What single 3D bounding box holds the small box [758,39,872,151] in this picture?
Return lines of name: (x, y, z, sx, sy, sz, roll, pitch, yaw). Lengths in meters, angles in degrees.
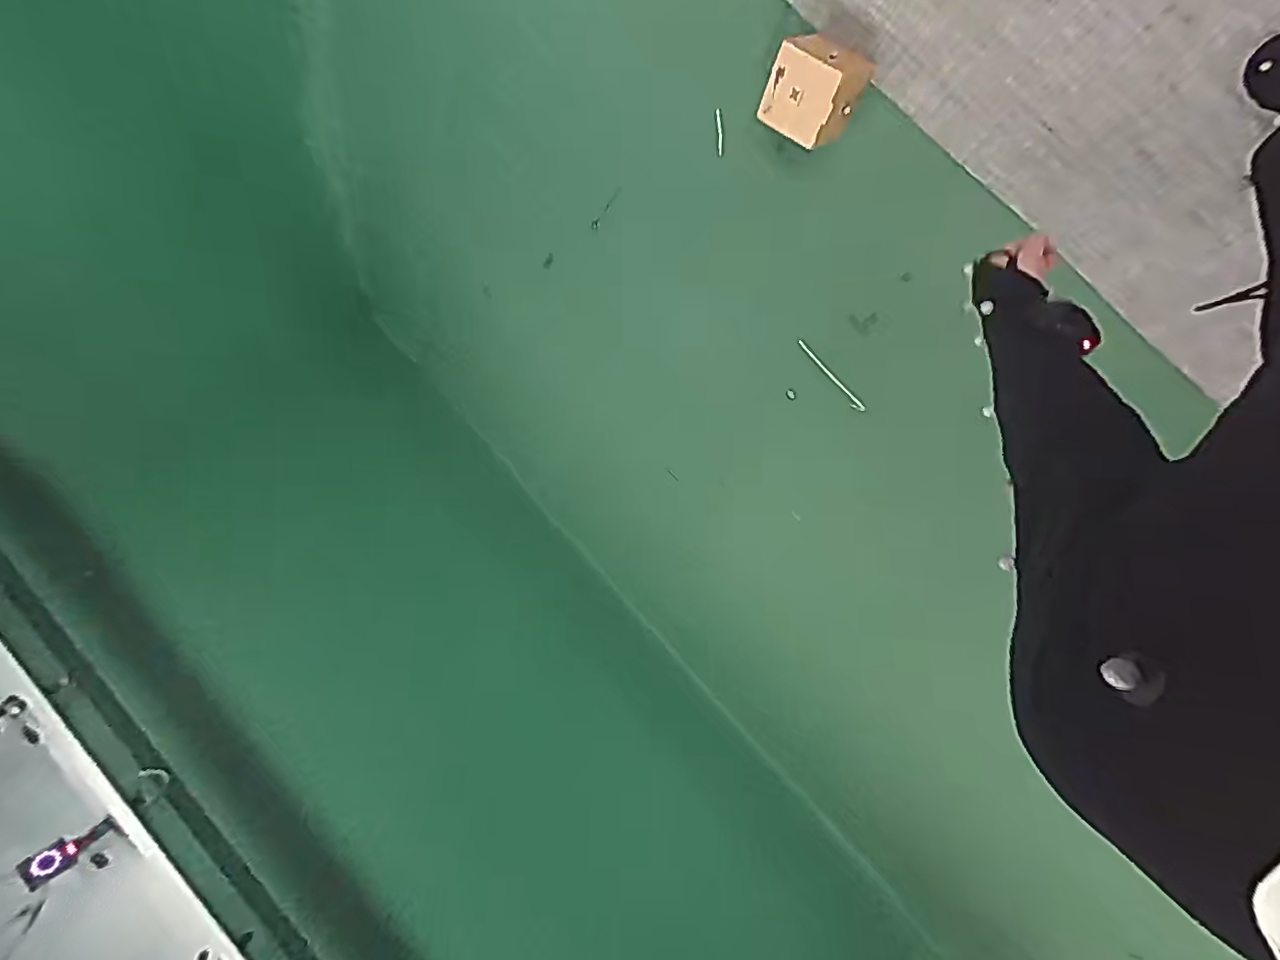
small box: (0.431, -0.950, 1.327, 0.179, 0.176, 0.168, 41, 145, 14)
